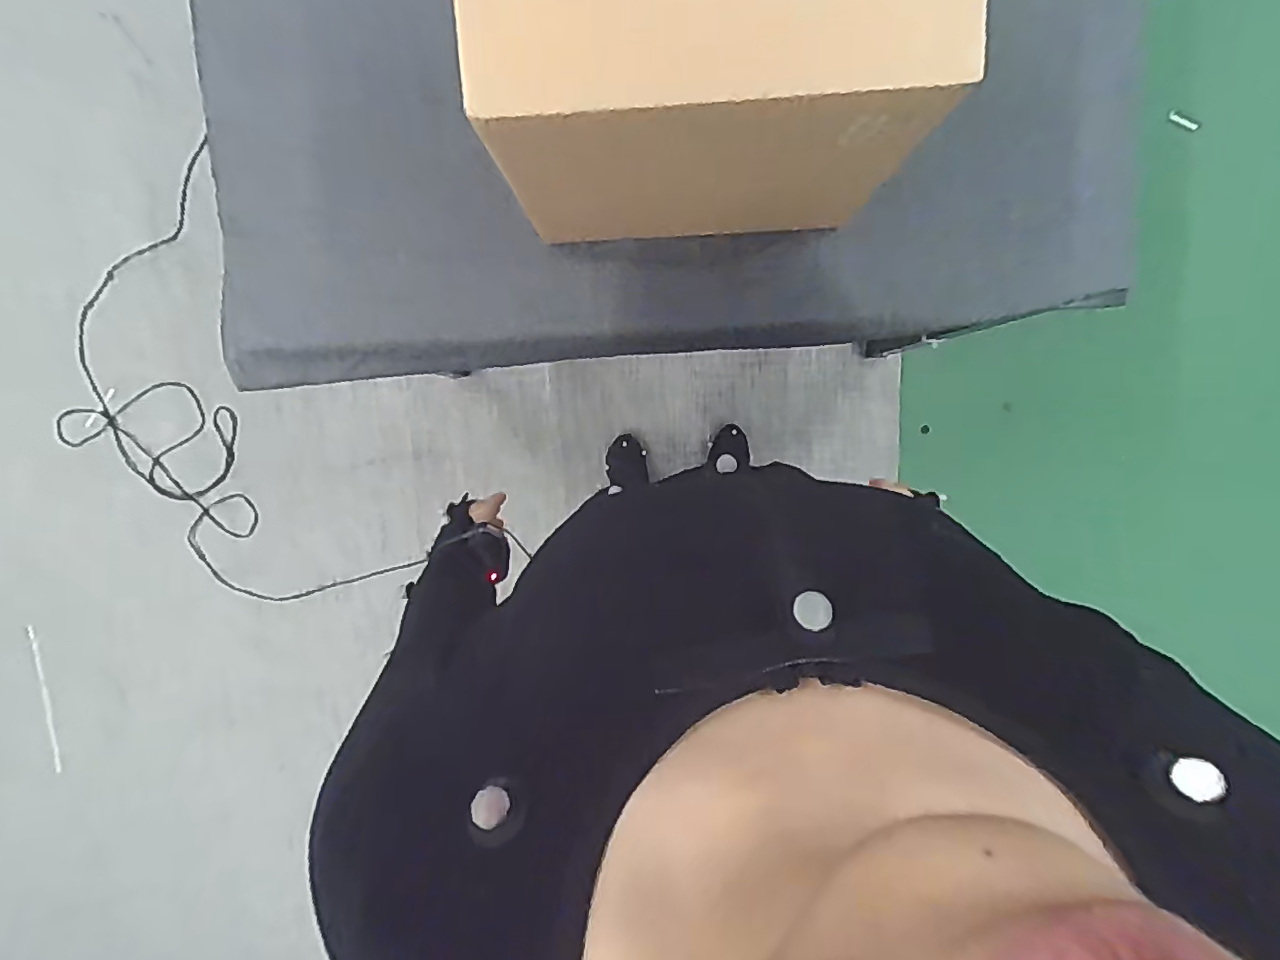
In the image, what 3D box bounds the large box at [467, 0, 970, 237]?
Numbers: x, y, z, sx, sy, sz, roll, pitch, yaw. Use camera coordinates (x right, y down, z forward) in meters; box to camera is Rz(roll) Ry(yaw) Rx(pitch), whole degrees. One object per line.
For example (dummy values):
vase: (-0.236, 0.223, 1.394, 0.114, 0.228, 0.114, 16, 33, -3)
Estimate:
large box: (0.056, -0.475, 0.566, 0.408, 0.320, 0.320, -3, 97, 1)
